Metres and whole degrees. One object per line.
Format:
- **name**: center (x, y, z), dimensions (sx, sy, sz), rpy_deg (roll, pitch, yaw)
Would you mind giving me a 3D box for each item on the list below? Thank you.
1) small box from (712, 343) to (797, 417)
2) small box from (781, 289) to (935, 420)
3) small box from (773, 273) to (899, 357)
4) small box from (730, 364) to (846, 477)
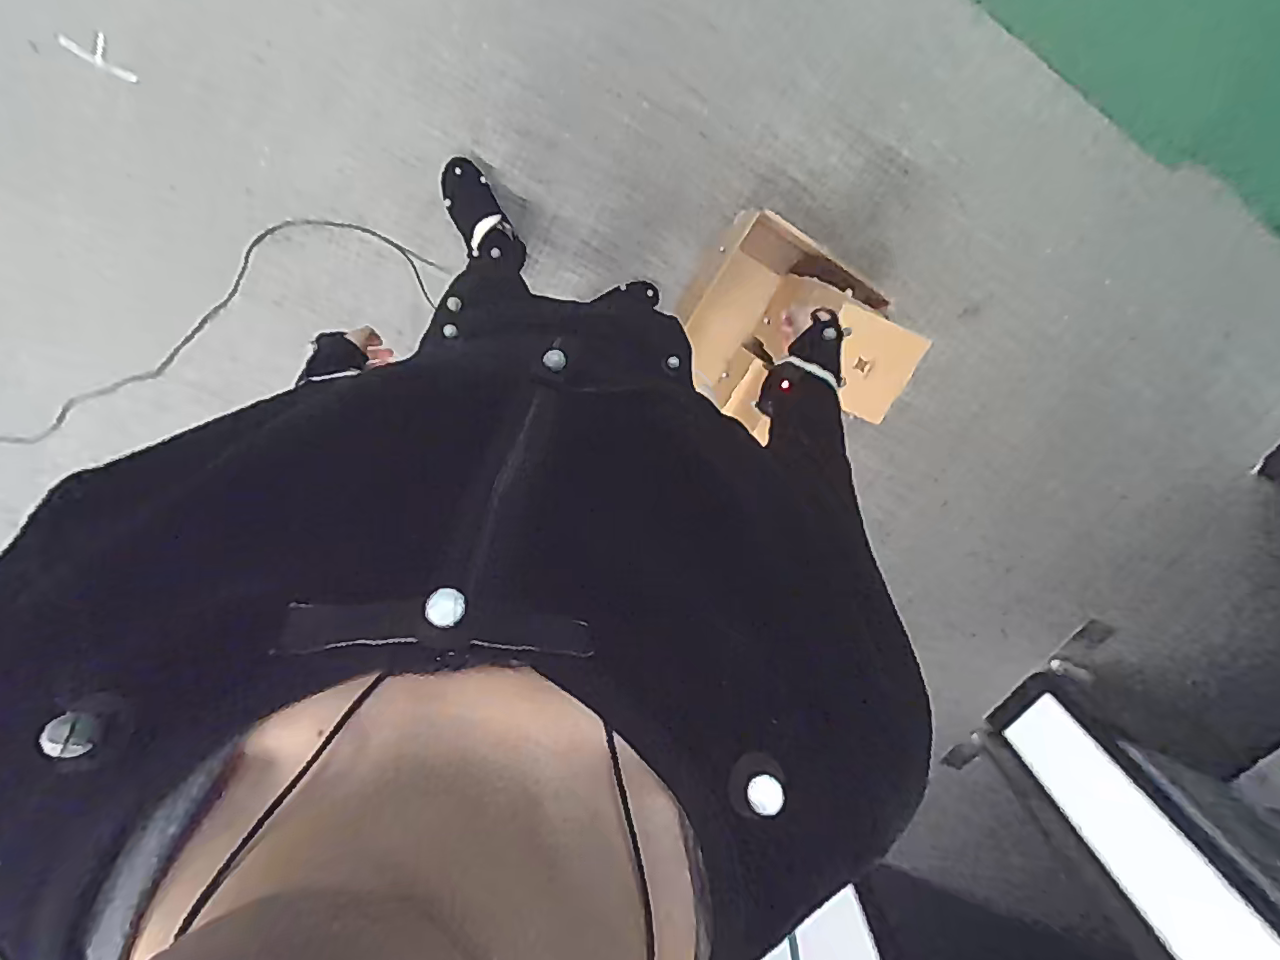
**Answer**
- **small box**: center (0.303, -0.224, 1.358), dimensions (0.179, 0.176, 0.168), rpy_deg (28, 110, -14)
- **small box**: center (0.384, -0.237, 0.991), dimensions (0.179, 0.176, 0.168), rpy_deg (21, 114, -11)
- **small box**: center (0.398, -0.312, 1.136), dimensions (0.168, 0.176, 0.179), rpy_deg (25, 113, -12)
- **small box**: center (0.321, -0.140, 1.218), dimensions (0.168, 0.176, 0.179), rpy_deg (24, 111, -13)
